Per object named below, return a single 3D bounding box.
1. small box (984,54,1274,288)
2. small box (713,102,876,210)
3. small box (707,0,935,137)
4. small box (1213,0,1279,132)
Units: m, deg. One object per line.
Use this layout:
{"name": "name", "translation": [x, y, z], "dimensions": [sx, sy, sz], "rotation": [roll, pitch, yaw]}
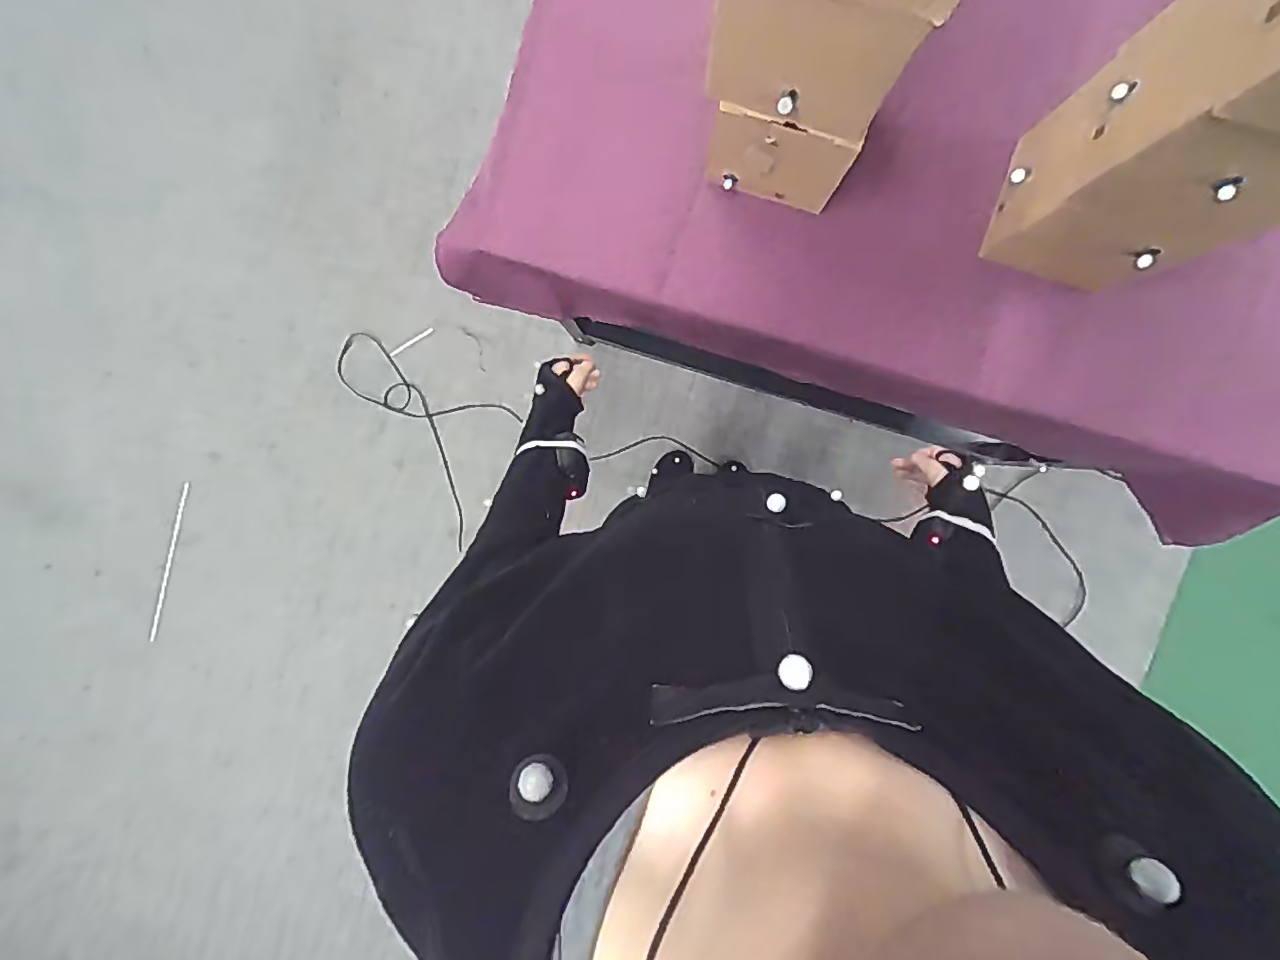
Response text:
{"name": "small box", "translation": [0.568, -0.350, 0.651], "dimensions": [0.179, 0.176, 0.168], "rotation": [18, 93, 2]}
{"name": "small box", "translation": [0.193, -0.466, 0.665], "dimensions": [0.168, 0.176, 0.179], "rotation": [17, 93, 1]}
{"name": "small box", "translation": [0.174, -0.460, 0.501], "dimensions": [0.179, 0.176, 0.168], "rotation": [18, 93, 1]}
{"name": "small box", "translation": [0.535, -0.325, 0.325], "dimensions": [0.179, 0.176, 0.168], "rotation": [18, 93, 2]}
